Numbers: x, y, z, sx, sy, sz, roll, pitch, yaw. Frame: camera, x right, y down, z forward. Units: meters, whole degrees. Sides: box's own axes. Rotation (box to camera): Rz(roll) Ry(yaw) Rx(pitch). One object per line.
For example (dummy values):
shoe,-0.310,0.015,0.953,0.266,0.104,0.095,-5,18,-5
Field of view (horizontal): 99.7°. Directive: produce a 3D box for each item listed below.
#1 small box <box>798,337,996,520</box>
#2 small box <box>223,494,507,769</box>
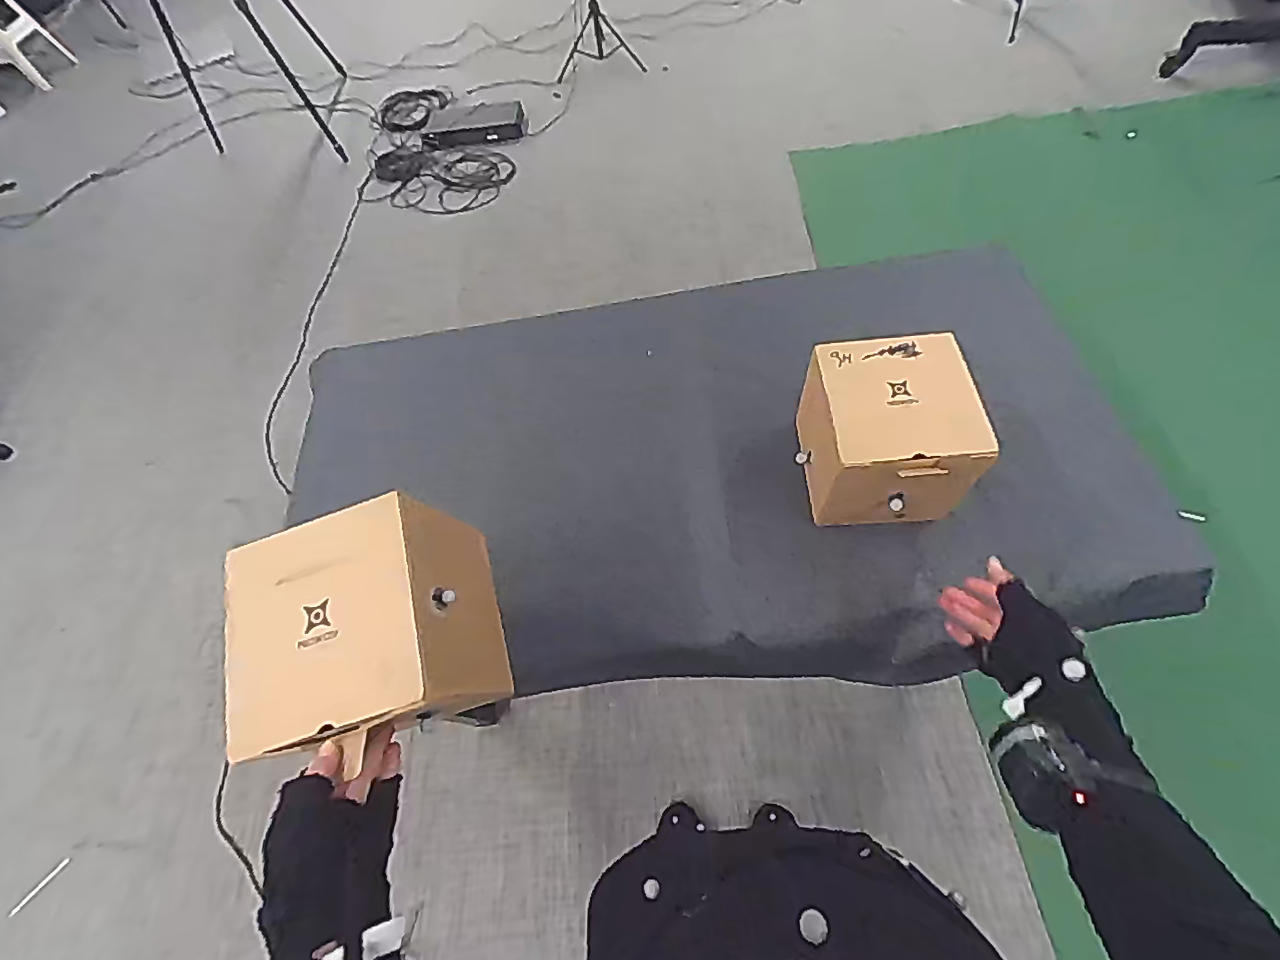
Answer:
small box,0.306,-0.055,0.688,0.168,0.176,0.179,-3,62,4
small box,-0.240,0.139,0.501,0.168,0.176,0.179,-19,68,3
